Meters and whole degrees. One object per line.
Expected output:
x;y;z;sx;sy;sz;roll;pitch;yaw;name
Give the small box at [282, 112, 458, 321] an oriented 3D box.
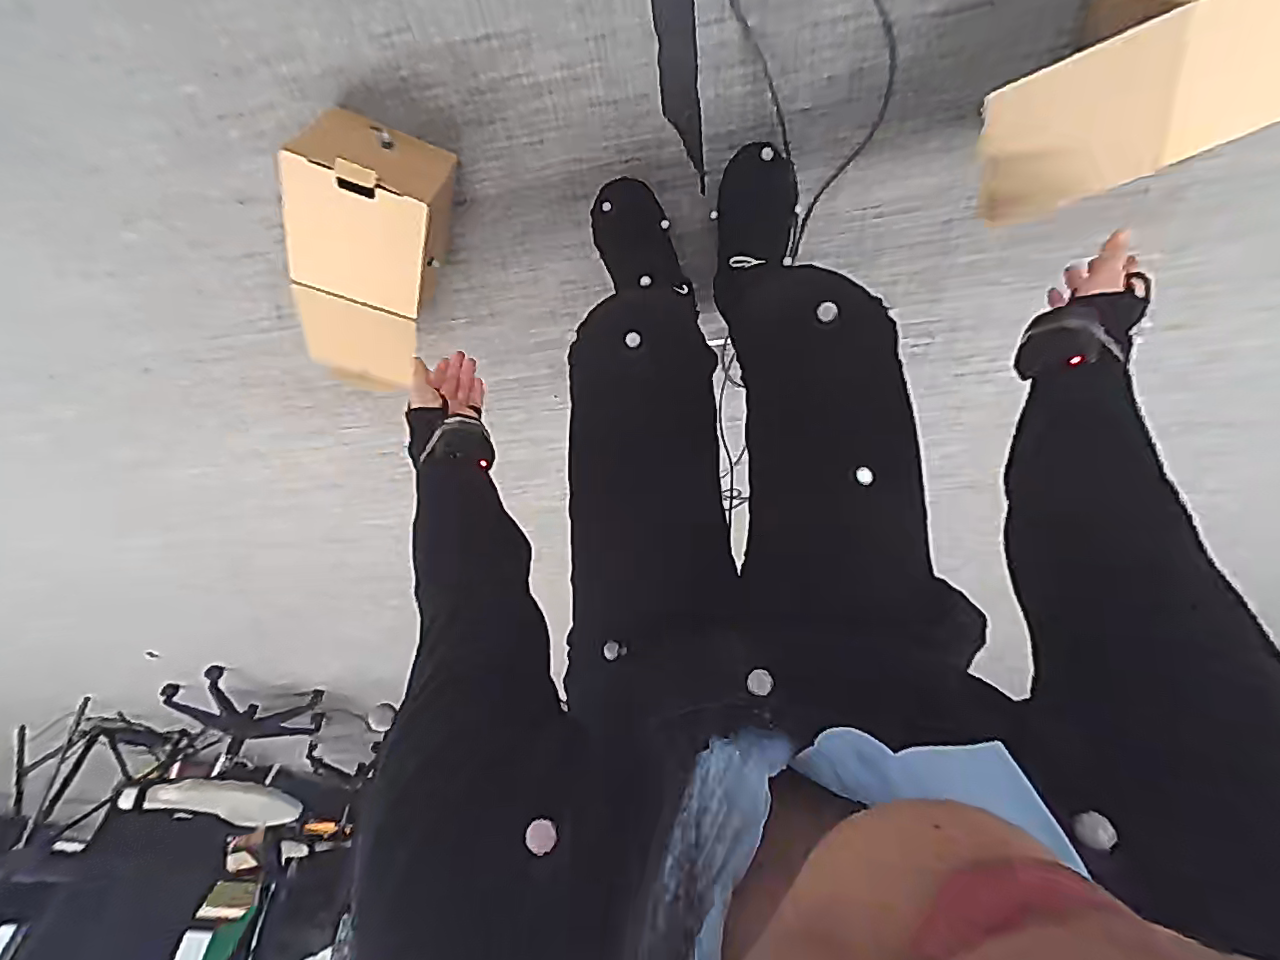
-0.357;-0.358;0.739;0.168;0.176;0.179;15;136;-16;small box
